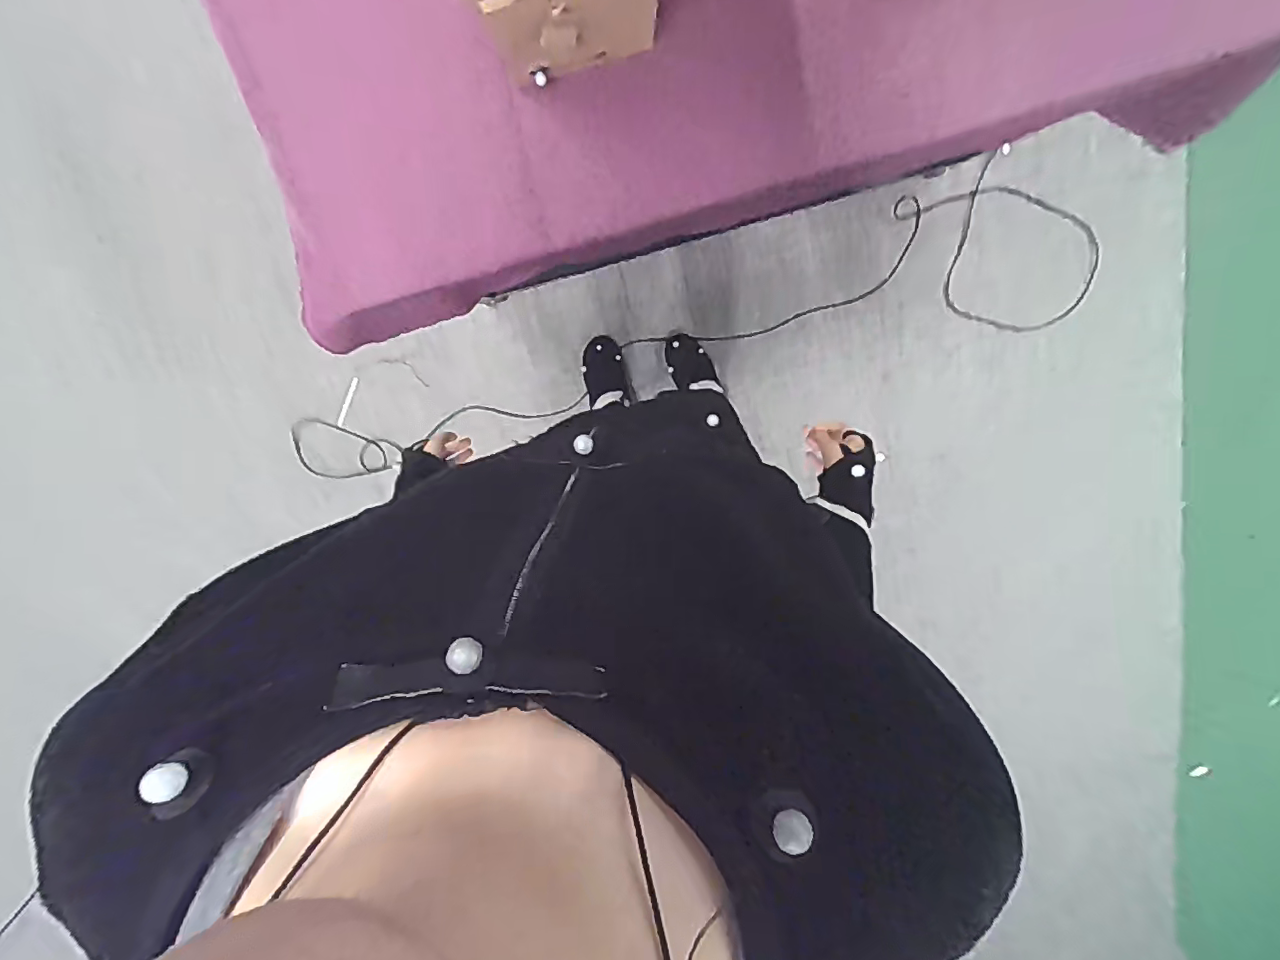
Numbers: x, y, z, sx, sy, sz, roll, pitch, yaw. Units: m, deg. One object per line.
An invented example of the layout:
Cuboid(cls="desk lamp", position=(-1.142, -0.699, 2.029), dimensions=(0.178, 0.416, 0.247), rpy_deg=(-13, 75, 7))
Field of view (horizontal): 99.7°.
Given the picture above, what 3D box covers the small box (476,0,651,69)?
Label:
Cuboid(cls="small box", position=(-0.086, -0.531, 0.512), dimensions=(0.168, 0.176, 0.179), rpy_deg=(-16, 107, 3))
